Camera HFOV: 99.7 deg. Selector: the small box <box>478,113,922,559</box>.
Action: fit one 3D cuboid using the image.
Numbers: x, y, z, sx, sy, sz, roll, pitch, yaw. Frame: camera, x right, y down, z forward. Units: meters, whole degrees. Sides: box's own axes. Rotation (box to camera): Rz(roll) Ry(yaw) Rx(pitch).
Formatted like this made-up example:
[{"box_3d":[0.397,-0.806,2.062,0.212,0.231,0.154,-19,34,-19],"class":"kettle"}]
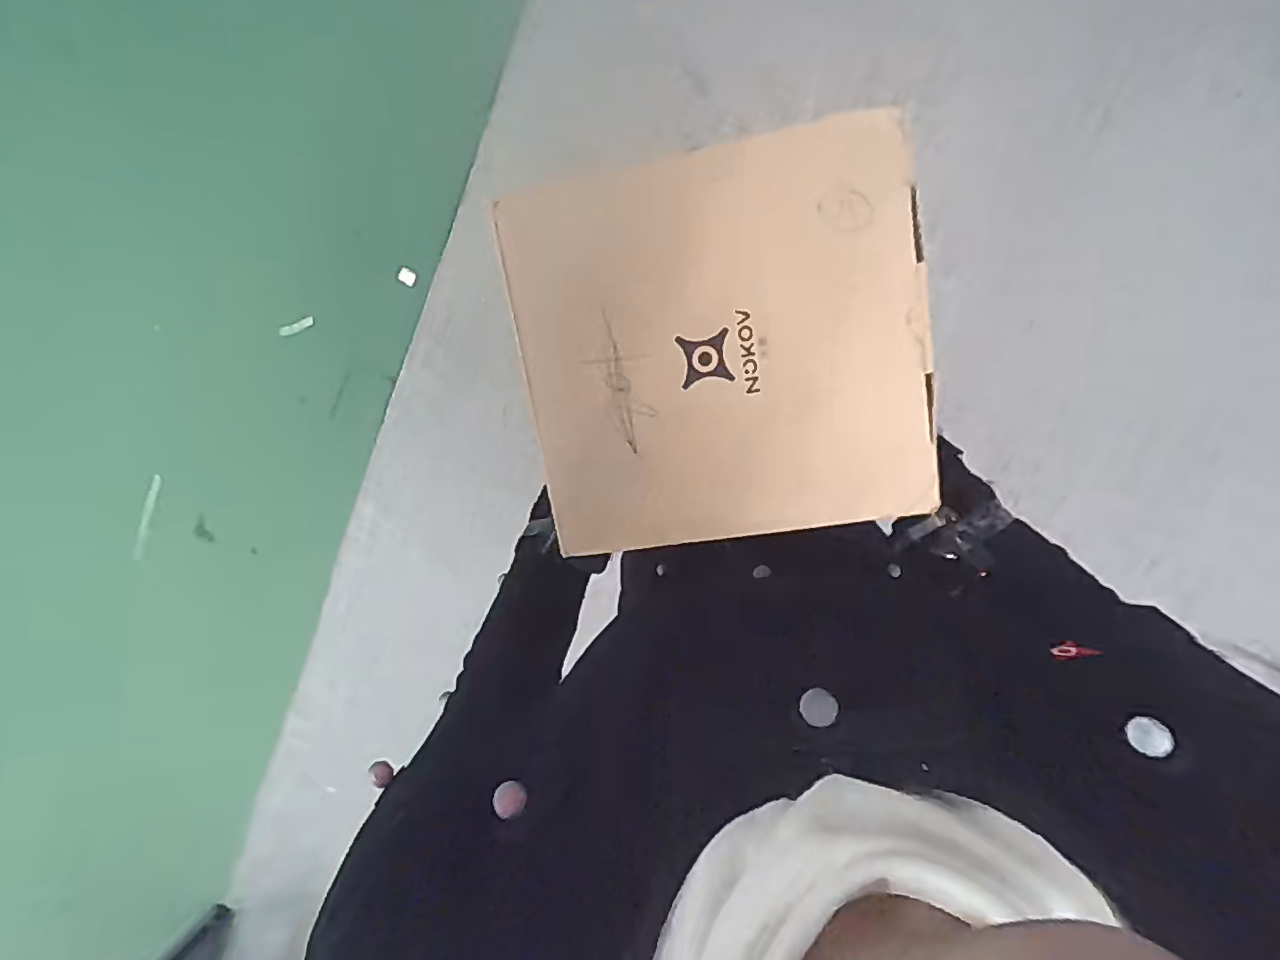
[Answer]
[{"box_3d":[0.039,-0.068,0.315,0.179,0.176,0.168,-9,100,13],"class":"small box"}]
